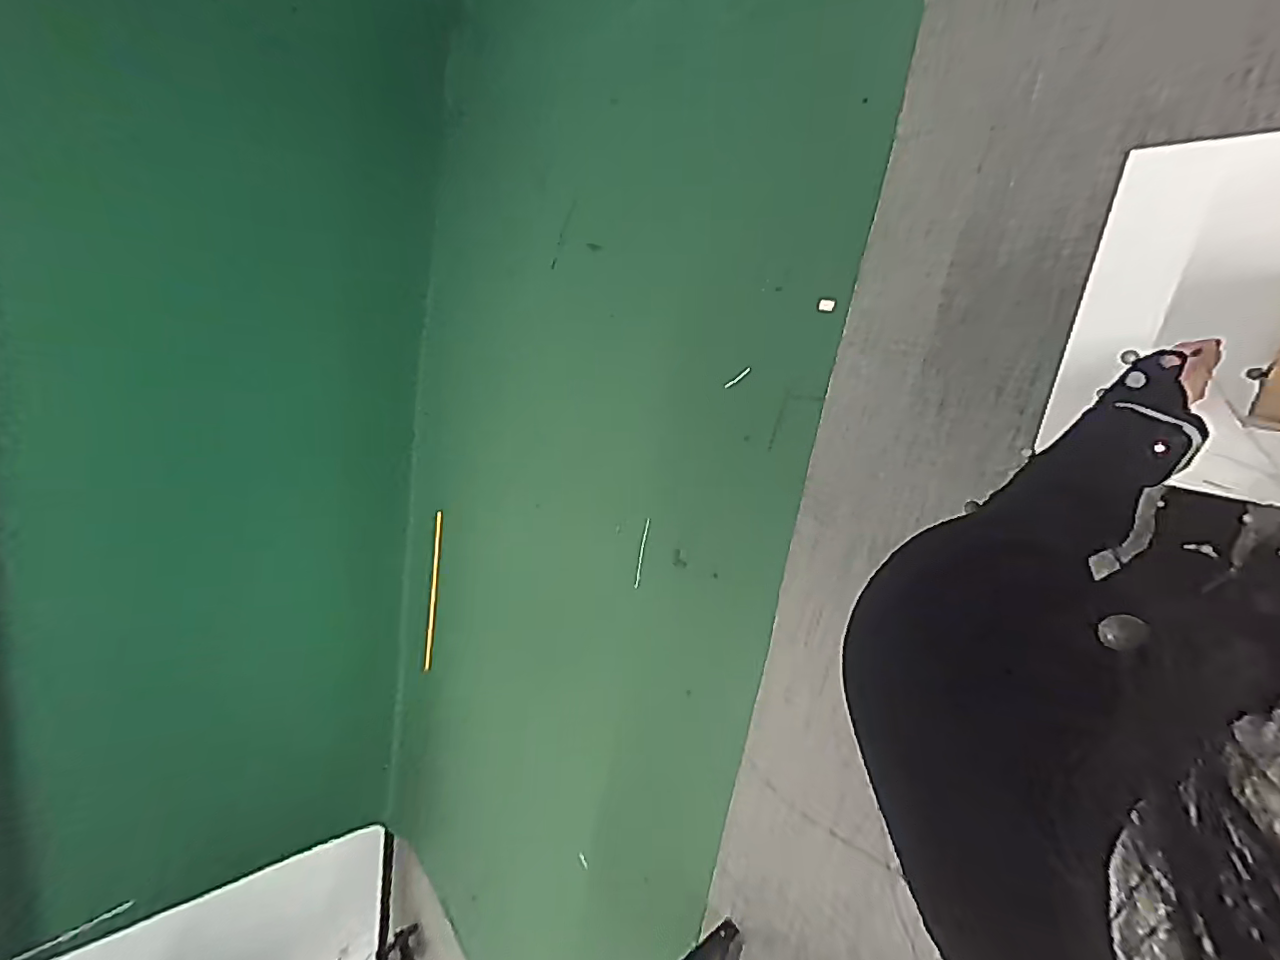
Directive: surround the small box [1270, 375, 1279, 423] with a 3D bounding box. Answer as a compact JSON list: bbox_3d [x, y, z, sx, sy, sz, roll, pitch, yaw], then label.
[{"bbox_3d":[0.691,-0.121,0.462,0.168,0.176,0.179,25,110,45],"label":"small box"}]
